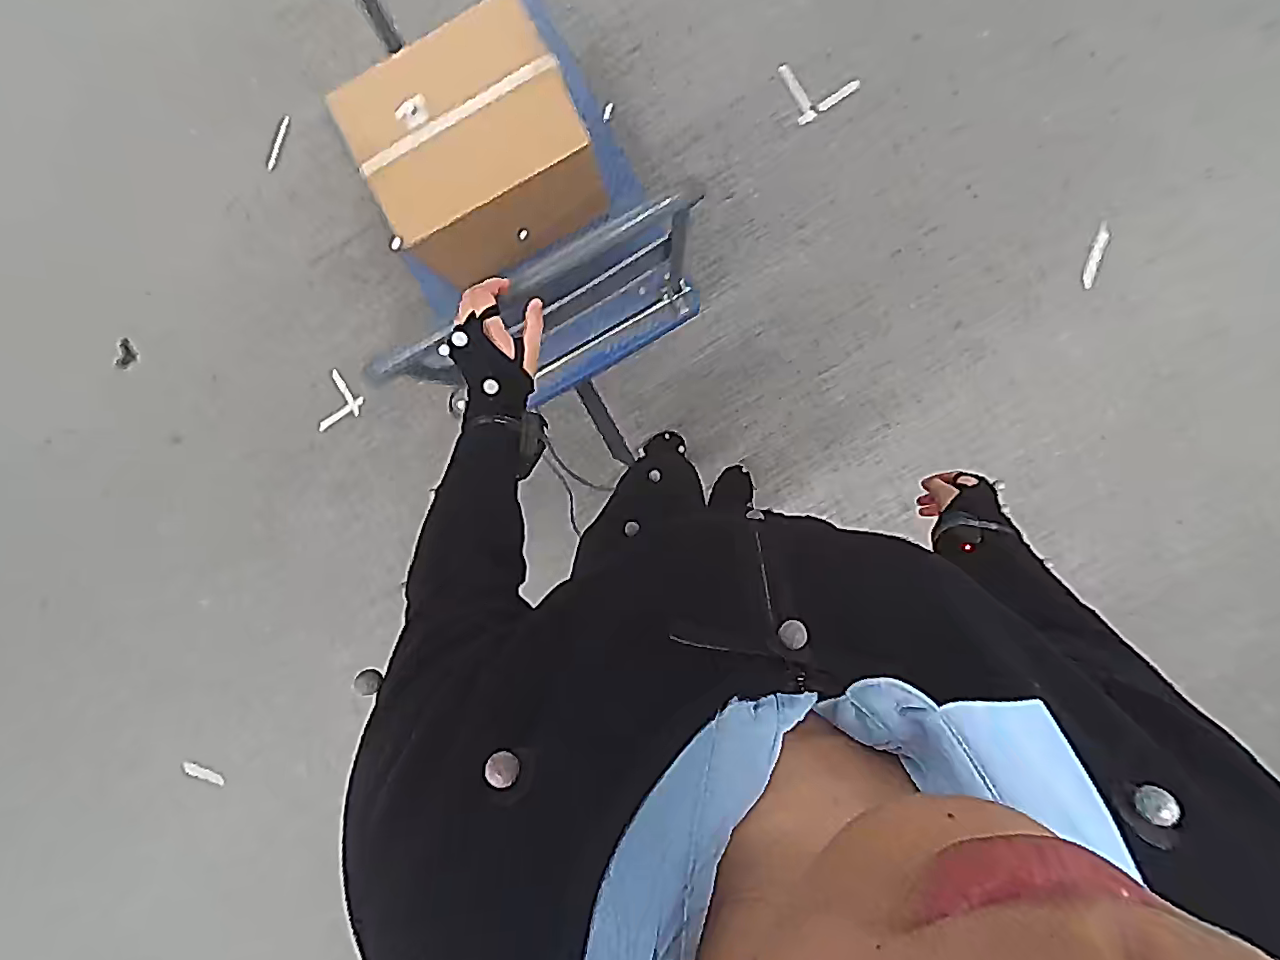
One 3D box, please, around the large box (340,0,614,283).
[{"bbox_3d":[-0.311,-0.686,1.149,0.408,0.320,0.320,-26,92,6],"label":"large box"}]
